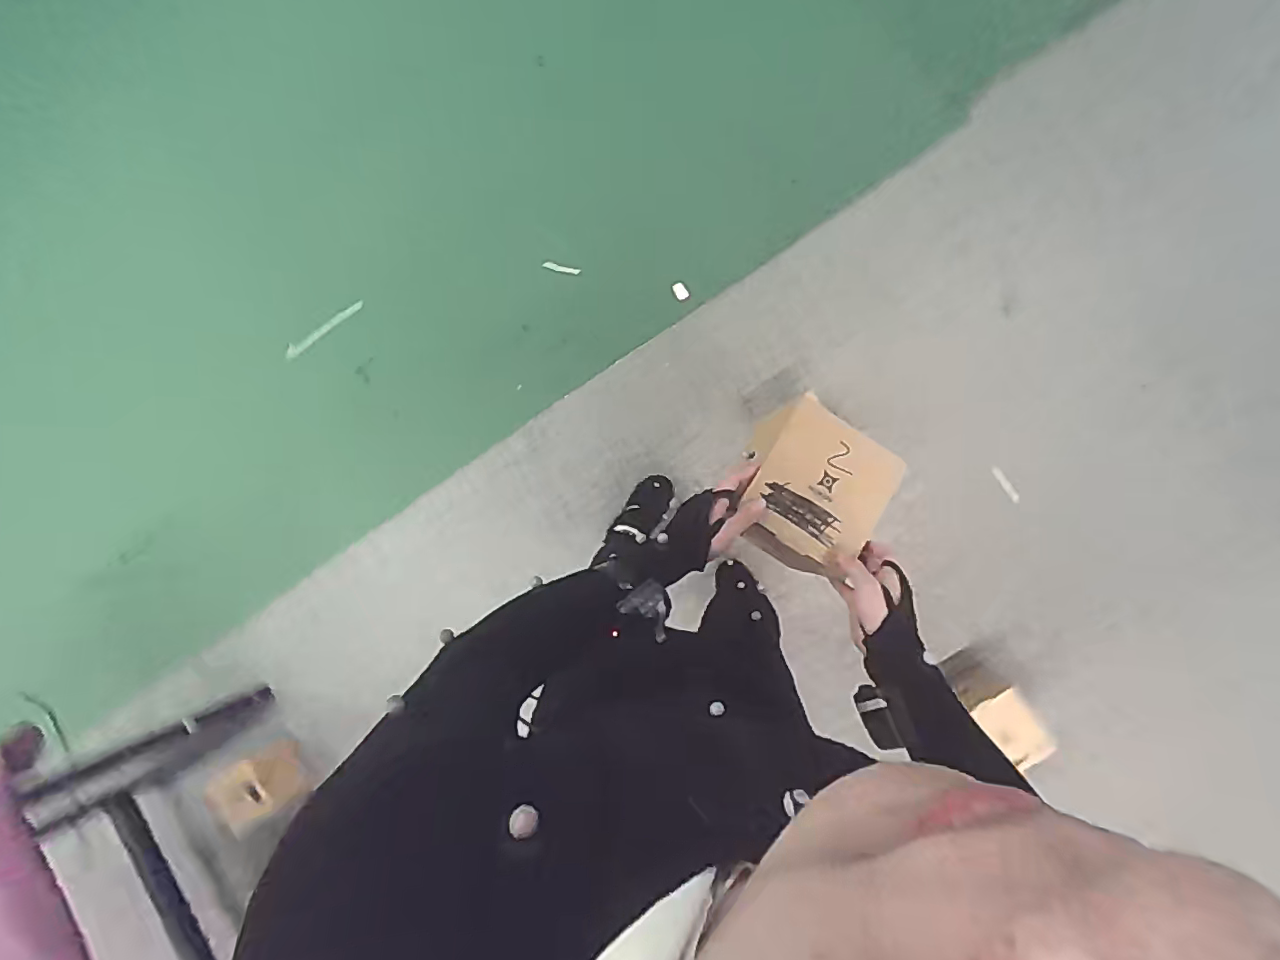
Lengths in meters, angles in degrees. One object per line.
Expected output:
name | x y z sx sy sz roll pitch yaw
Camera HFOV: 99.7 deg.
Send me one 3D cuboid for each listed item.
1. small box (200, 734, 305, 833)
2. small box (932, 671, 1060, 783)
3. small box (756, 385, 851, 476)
small box | -1.163 0.911 1.643 0.179 0.176 0.168 -37 83 7
small box | 0.869 0.599 1.343 0.168 0.176 0.179 -33 84 7
small box | 0.422 -0.121 1.431 0.179 0.176 0.168 -34 83 5
